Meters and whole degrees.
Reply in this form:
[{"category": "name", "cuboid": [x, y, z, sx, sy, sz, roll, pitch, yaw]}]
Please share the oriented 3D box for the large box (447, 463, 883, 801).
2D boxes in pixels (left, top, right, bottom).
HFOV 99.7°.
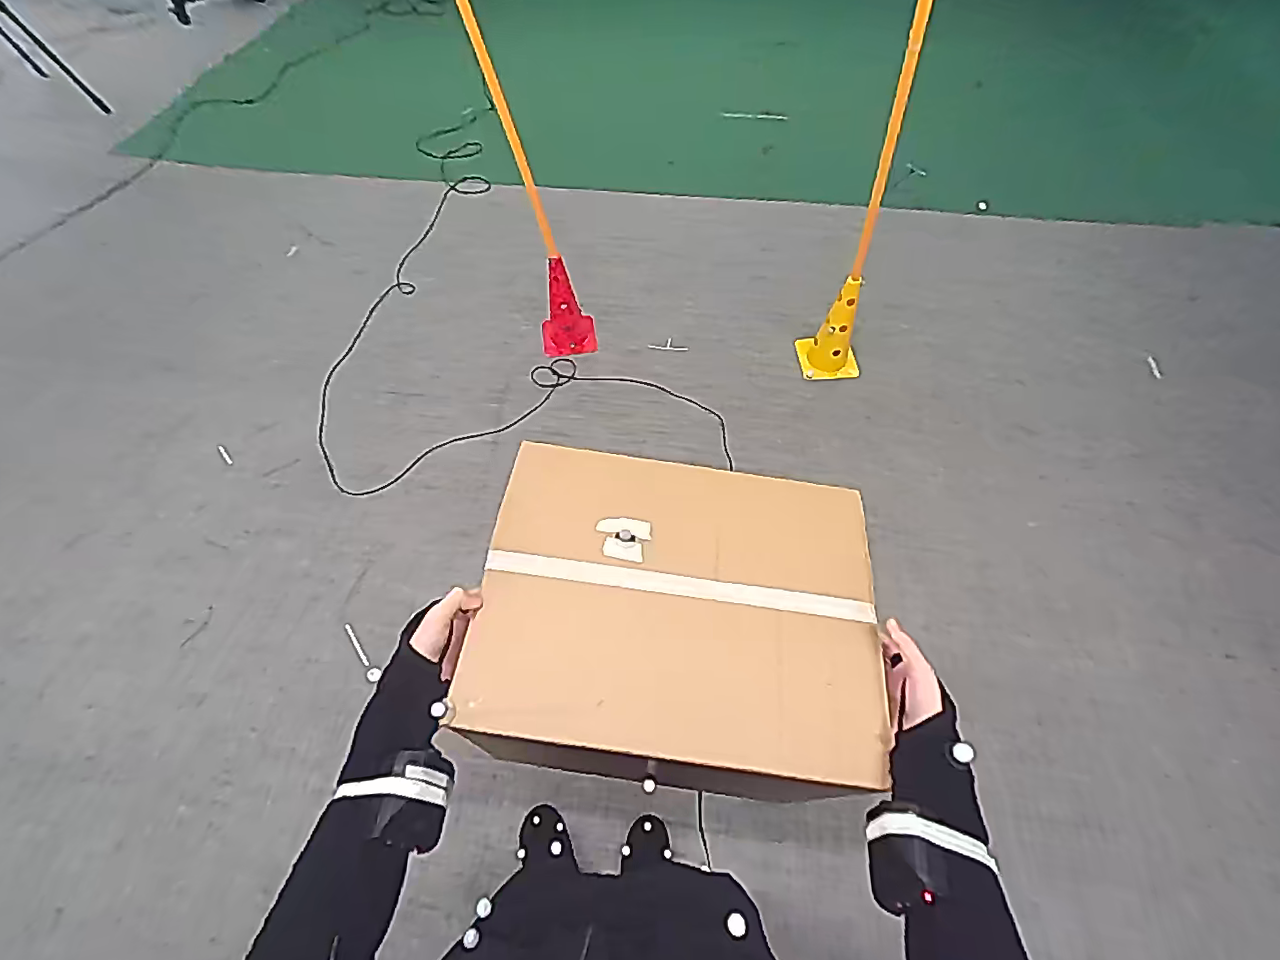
[{"category": "large box", "cuboid": [0.030, 0.209, 0.690, 0.408, 0.320, 0.320, 8, 56, 0]}]
